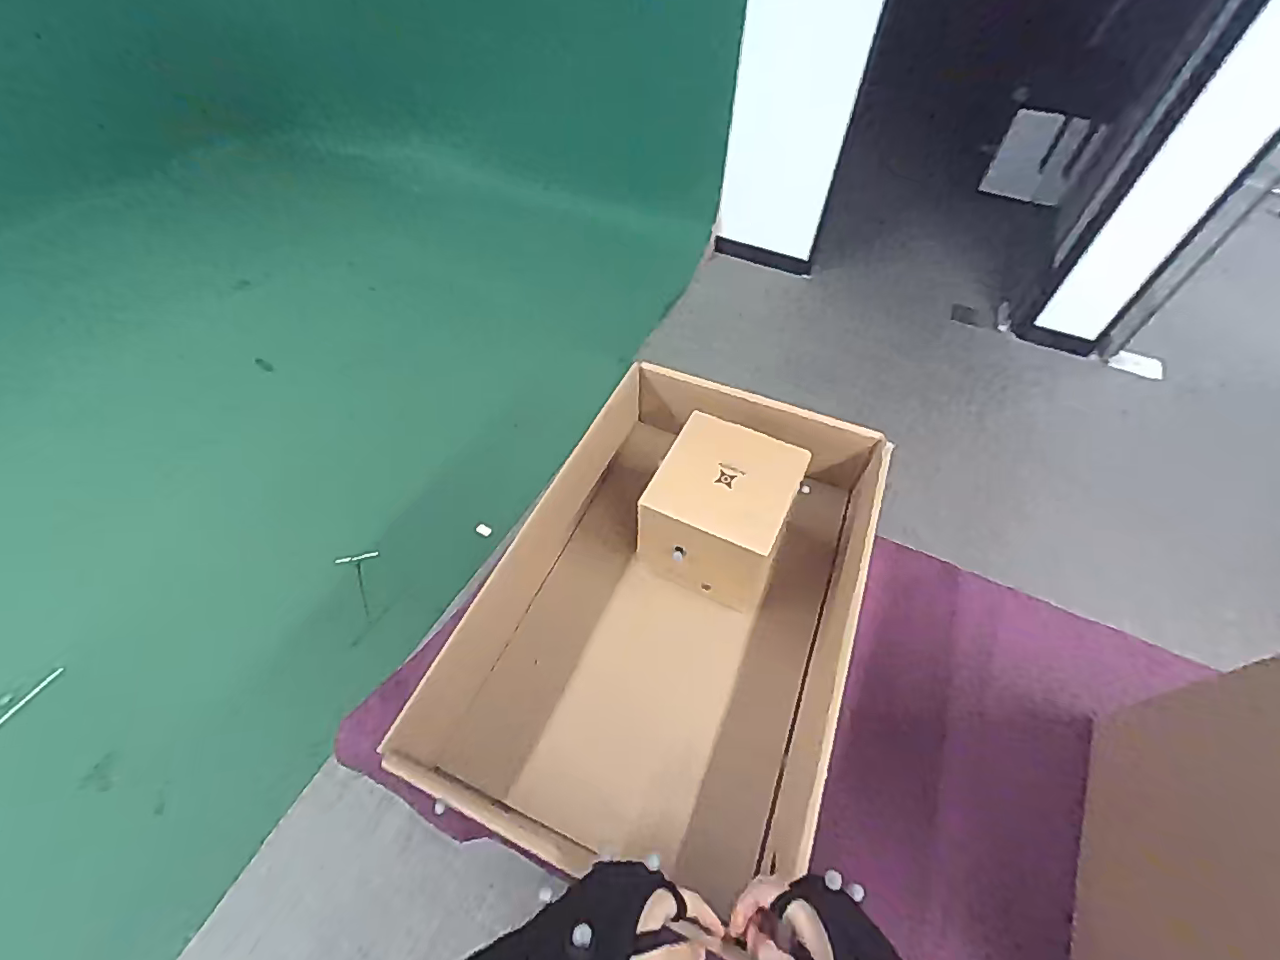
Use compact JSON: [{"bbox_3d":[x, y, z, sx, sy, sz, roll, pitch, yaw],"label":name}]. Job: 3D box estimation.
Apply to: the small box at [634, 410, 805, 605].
[{"bbox_3d":[0.104,0.042,0.737,0.168,0.176,0.179,22,57,15],"label":"small box"}]
